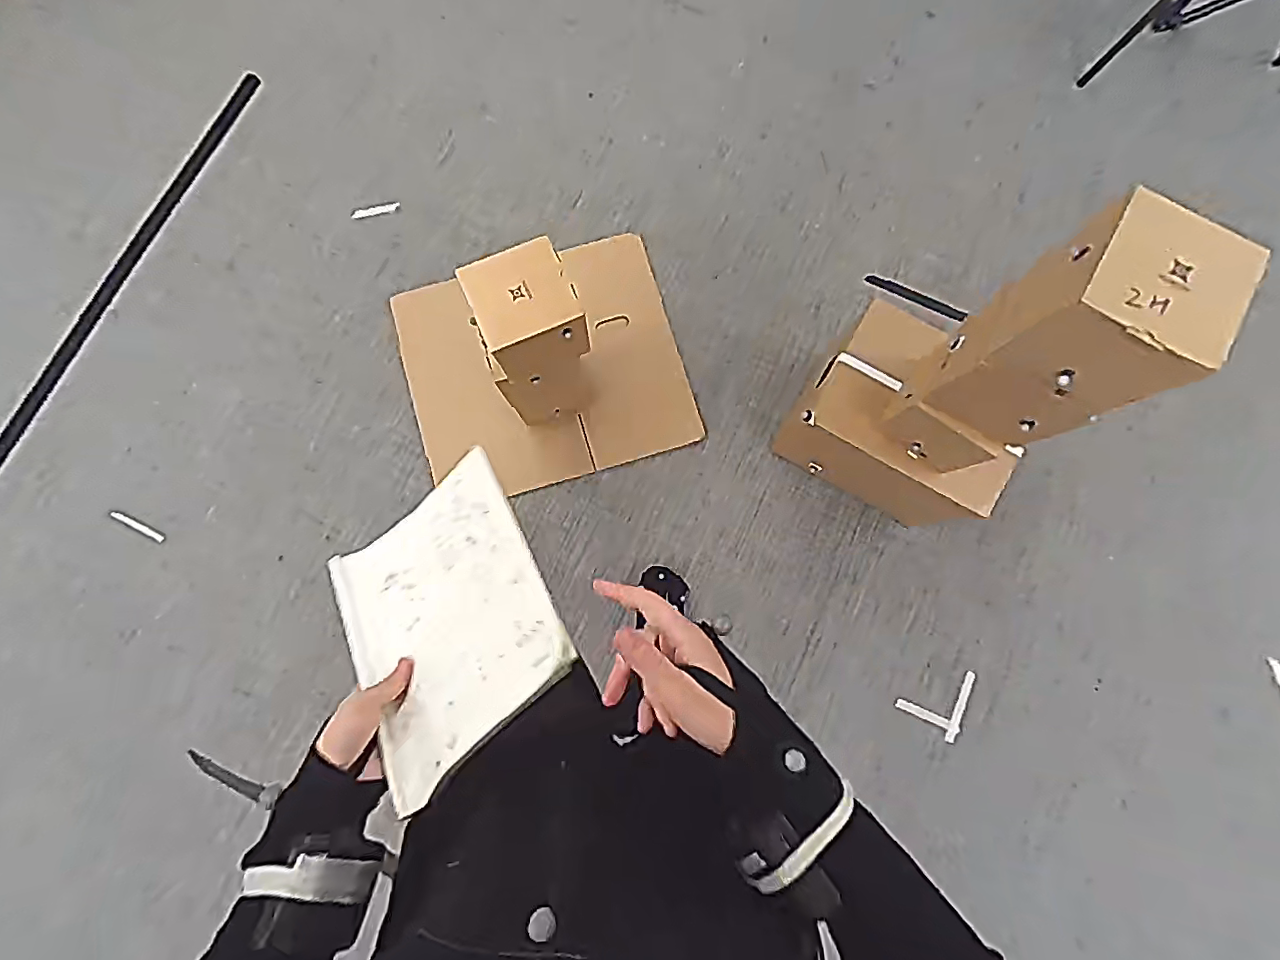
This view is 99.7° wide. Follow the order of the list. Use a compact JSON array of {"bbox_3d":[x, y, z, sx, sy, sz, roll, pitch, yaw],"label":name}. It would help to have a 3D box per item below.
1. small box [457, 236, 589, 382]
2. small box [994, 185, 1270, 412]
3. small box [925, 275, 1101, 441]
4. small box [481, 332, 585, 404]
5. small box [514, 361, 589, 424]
[{"bbox_3d":[-0.204,-0.304,0.996,0.179,0.176,0.168,-24,83,-6],"label":"small box"},{"bbox_3d":[0.597,-0.214,0.682,0.168,0.176,0.179,31,82,5],"label":"small box"},{"bbox_3d":[0.592,-0.176,0.842,0.179,0.176,0.168,29,81,5],"label":"small box"},{"bbox_3d":[-0.227,-0.278,1.156,0.179,0.176,0.168,-17,82,-5],"label":"small box"},{"bbox_3d":[-0.229,-0.252,1.319,0.179,0.176,0.168,-18,82,-5],"label":"small box"}]
